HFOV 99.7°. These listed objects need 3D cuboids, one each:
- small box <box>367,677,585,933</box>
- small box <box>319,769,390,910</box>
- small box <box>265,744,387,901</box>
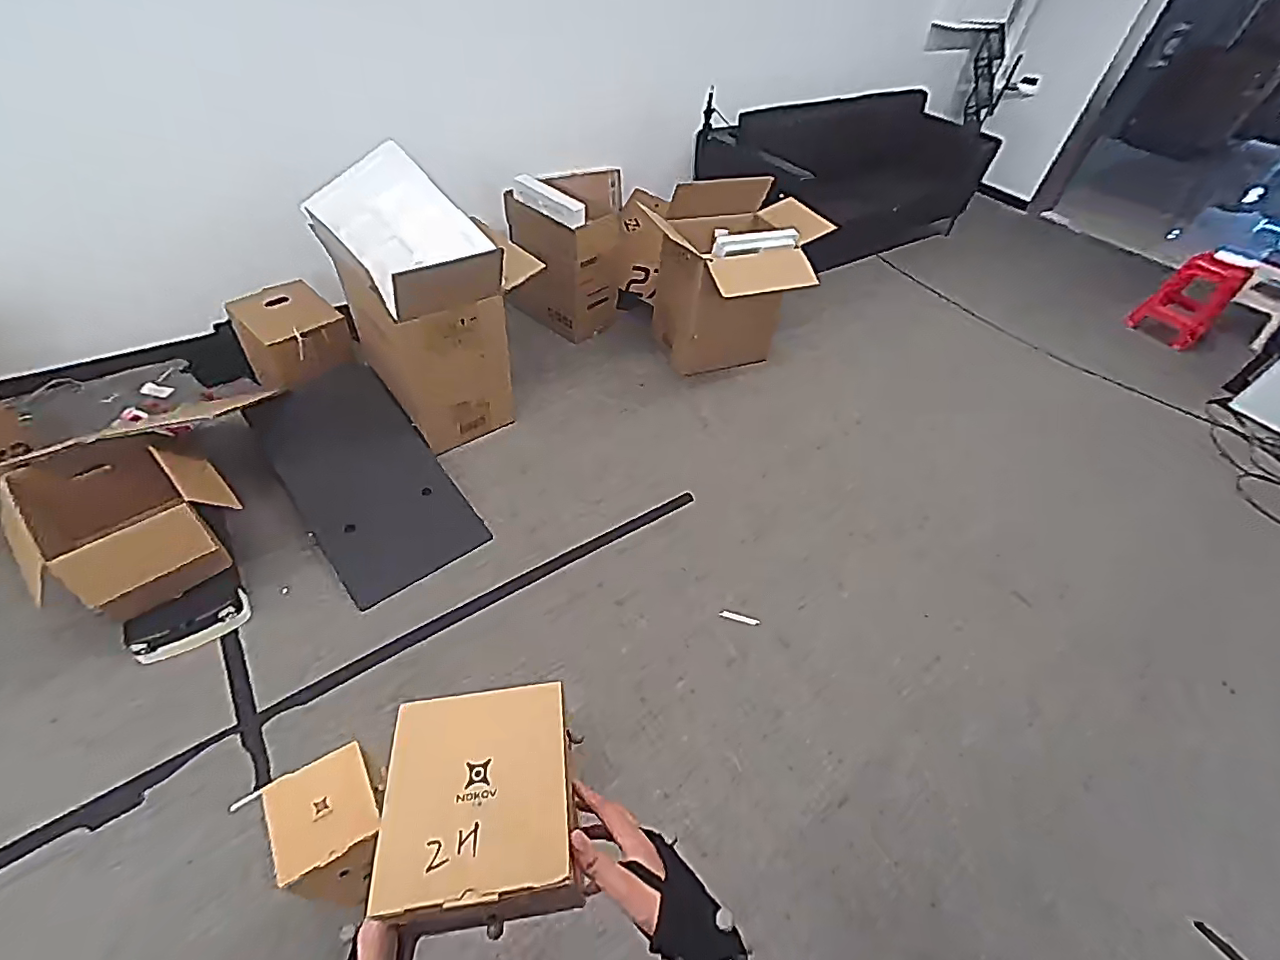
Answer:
[{"bbox_3d":[-0.147,0.327,0.547,0.168,0.176,0.179,-6,46,-5],"label":"small box"},{"bbox_3d":[-0.569,0.753,1.130,0.179,0.176,0.168,-24,54,-28],"label":"small box"},{"bbox_3d":[-0.566,0.641,1.011,0.168,0.176,0.179,-22,54,-26],"label":"small box"}]
